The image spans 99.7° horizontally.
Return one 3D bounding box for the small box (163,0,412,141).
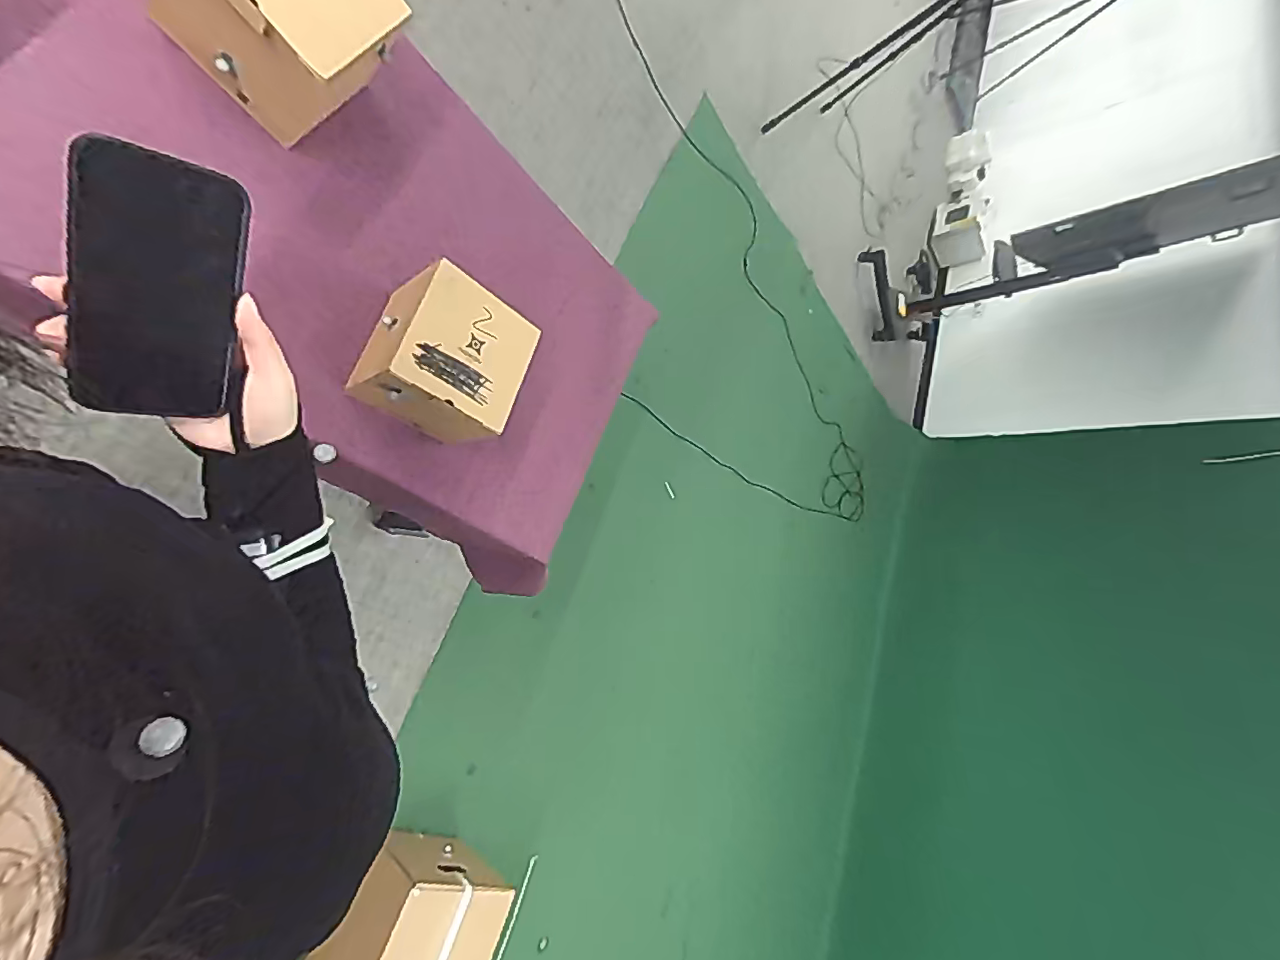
[{"bbox_3d":[-0.417,-0.553,0.639,0.168,0.176,0.179,45,60,-34],"label":"small box"}]
